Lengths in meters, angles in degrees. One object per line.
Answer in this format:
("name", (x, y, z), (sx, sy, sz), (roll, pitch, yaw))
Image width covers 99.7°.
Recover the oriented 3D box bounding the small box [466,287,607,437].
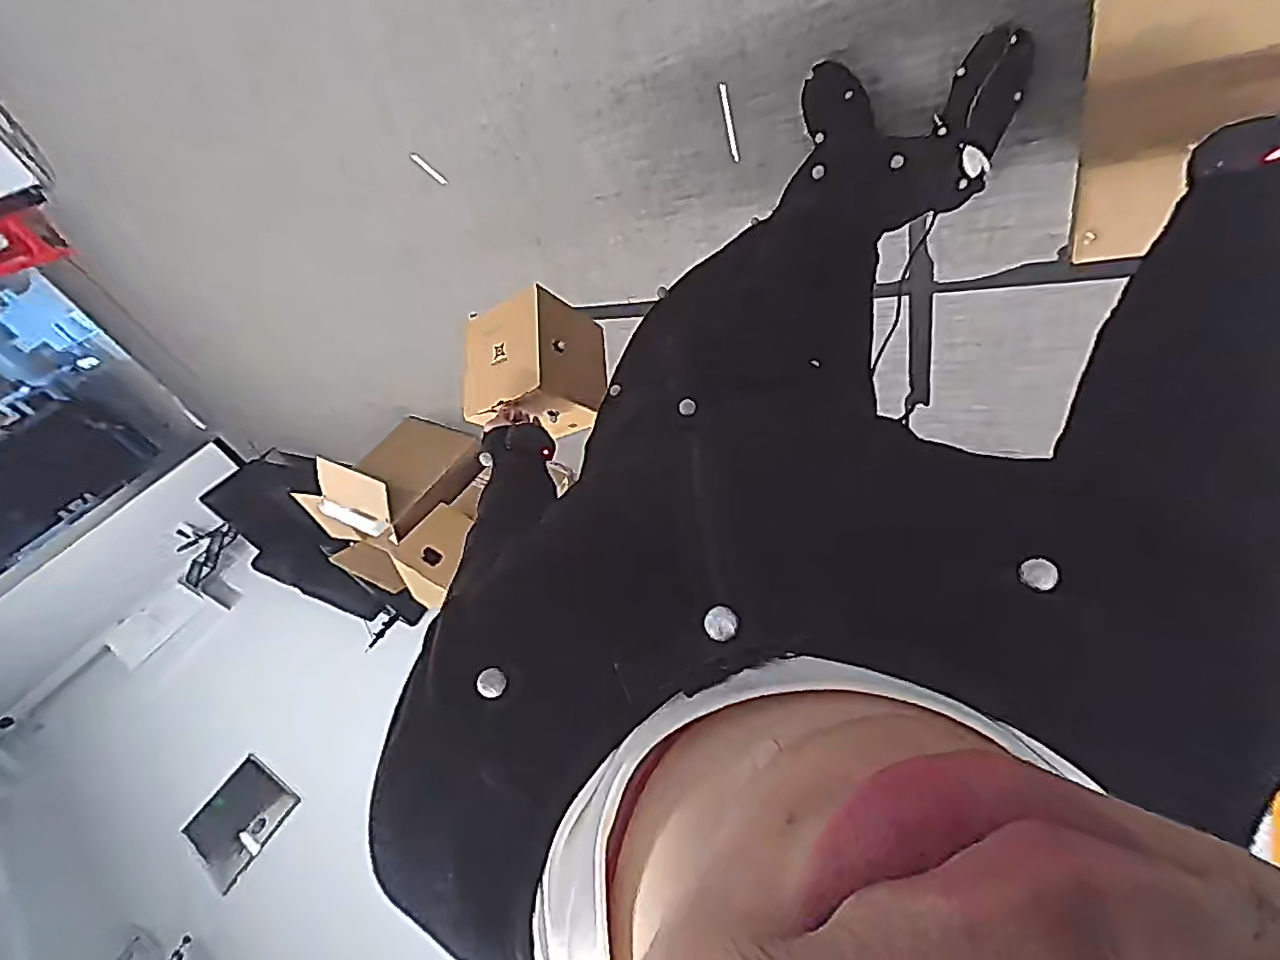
("small box", (-0.167, -0.179, 0.896), (0.168, 0.179, 0.176), (-13, 162, 31))
